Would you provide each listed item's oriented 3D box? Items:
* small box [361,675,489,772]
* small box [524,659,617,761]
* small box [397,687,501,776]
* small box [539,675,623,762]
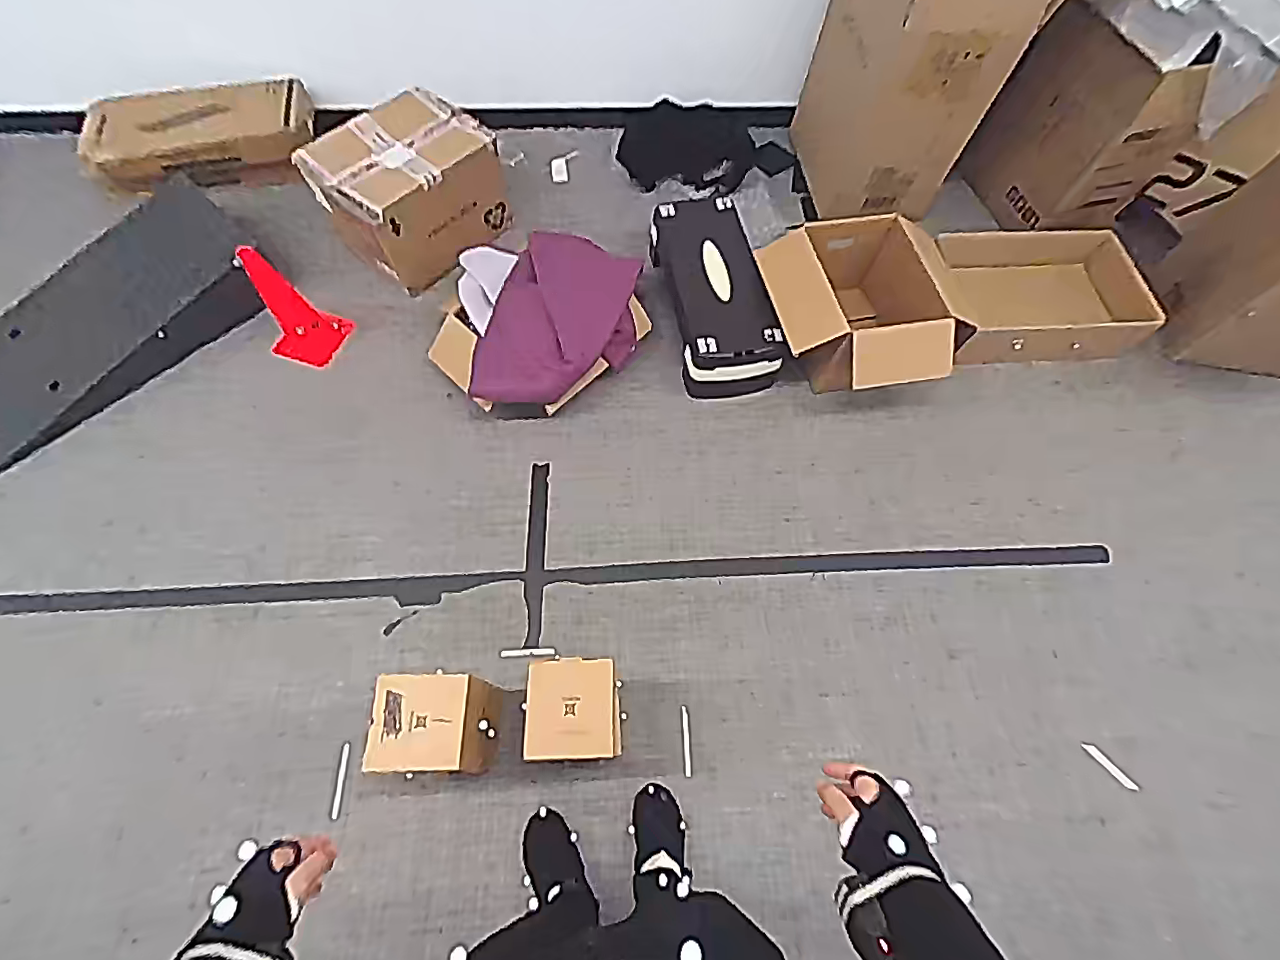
[{"bbox_3d":[-0.411,0.479,1.064,0.179,0.176,0.168,0,65,-2],"label":"small box"},{"bbox_3d":[-0.132,0.460,1.084,0.168,0.176,0.179,-1,66,-1],"label":"small box"},{"bbox_3d":[-0.416,0.556,1.211,0.168,0.176,0.179,0,66,0],"label":"small box"},{"bbox_3d":[-0.131,0.539,1.227,0.179,0.176,0.168,-3,65,-3],"label":"small box"}]
